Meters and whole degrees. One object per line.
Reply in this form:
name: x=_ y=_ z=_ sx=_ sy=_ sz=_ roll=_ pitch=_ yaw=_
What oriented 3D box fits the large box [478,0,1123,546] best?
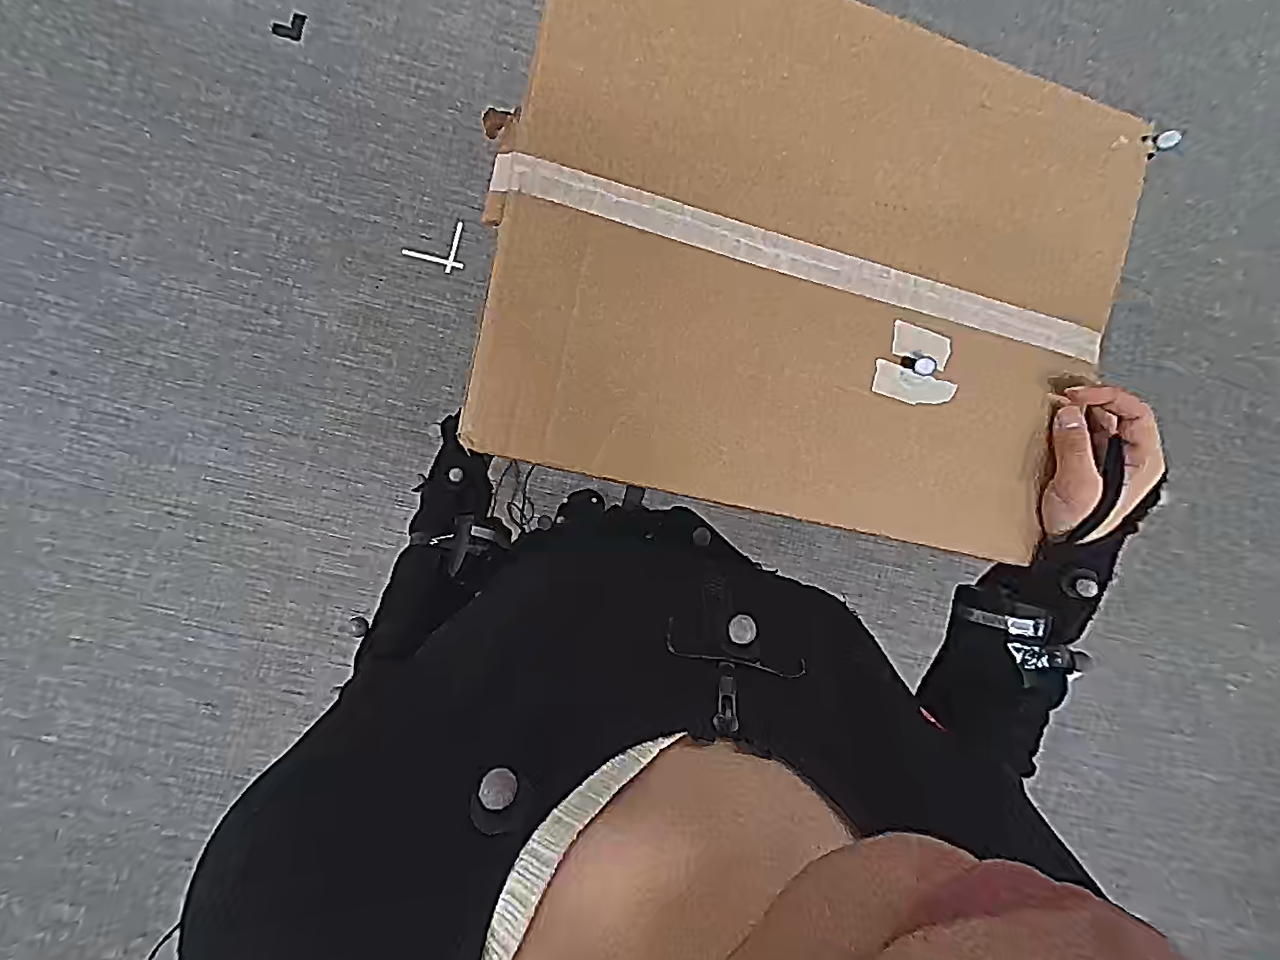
large box: x=0.093 y=-0.148 z=0.493 sx=0.408 sy=0.320 sz=0.320 roll=12 pitch=94 yaw=-12
